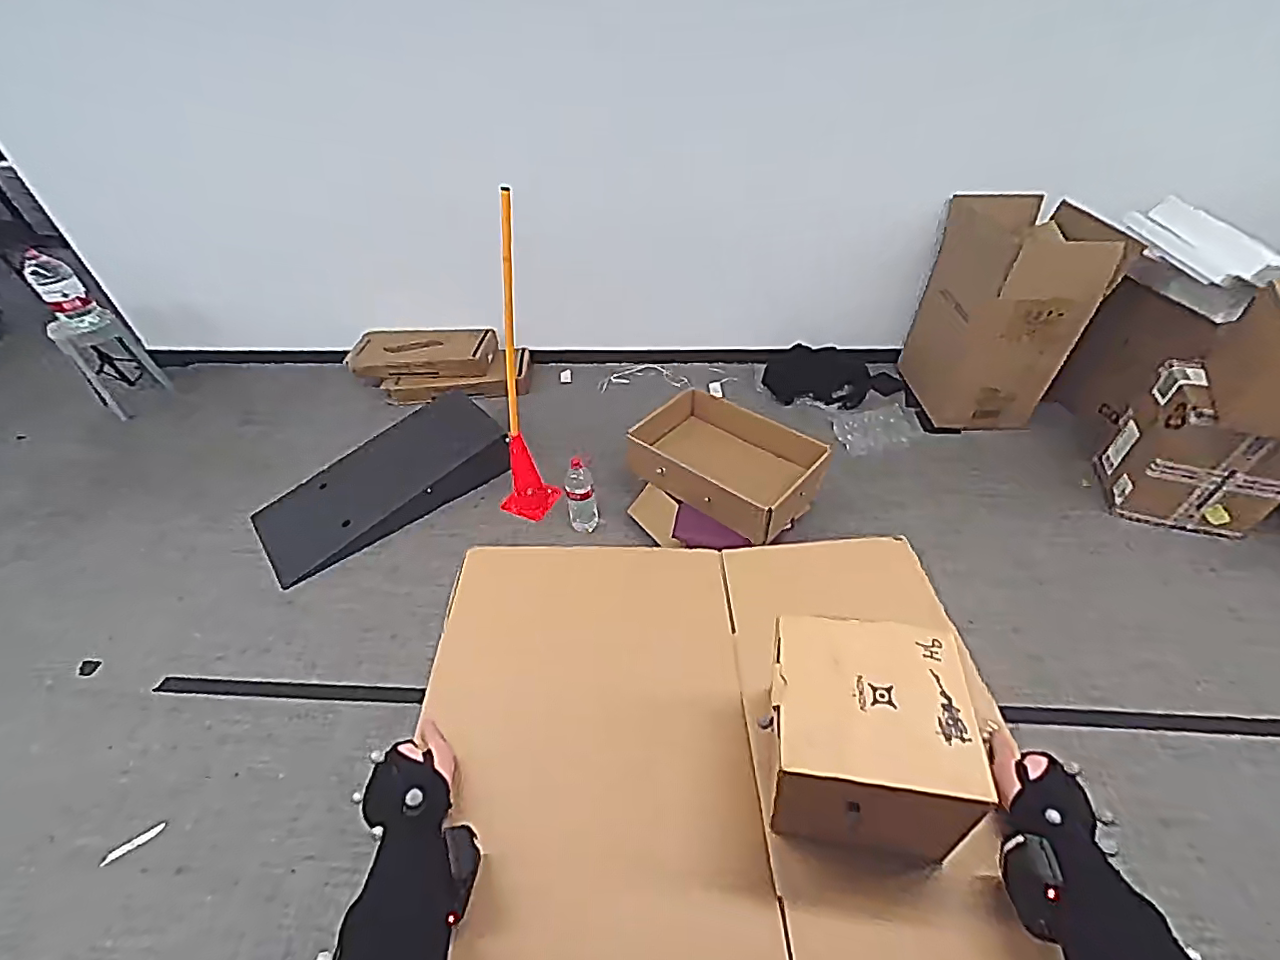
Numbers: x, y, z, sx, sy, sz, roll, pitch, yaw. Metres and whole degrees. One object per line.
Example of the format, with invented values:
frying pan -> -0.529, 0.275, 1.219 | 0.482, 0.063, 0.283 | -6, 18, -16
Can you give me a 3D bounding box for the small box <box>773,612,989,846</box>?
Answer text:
small box -> 0.233, 0.263, 0.576 | 0.179, 0.176, 0.168 | 2, 42, 13
